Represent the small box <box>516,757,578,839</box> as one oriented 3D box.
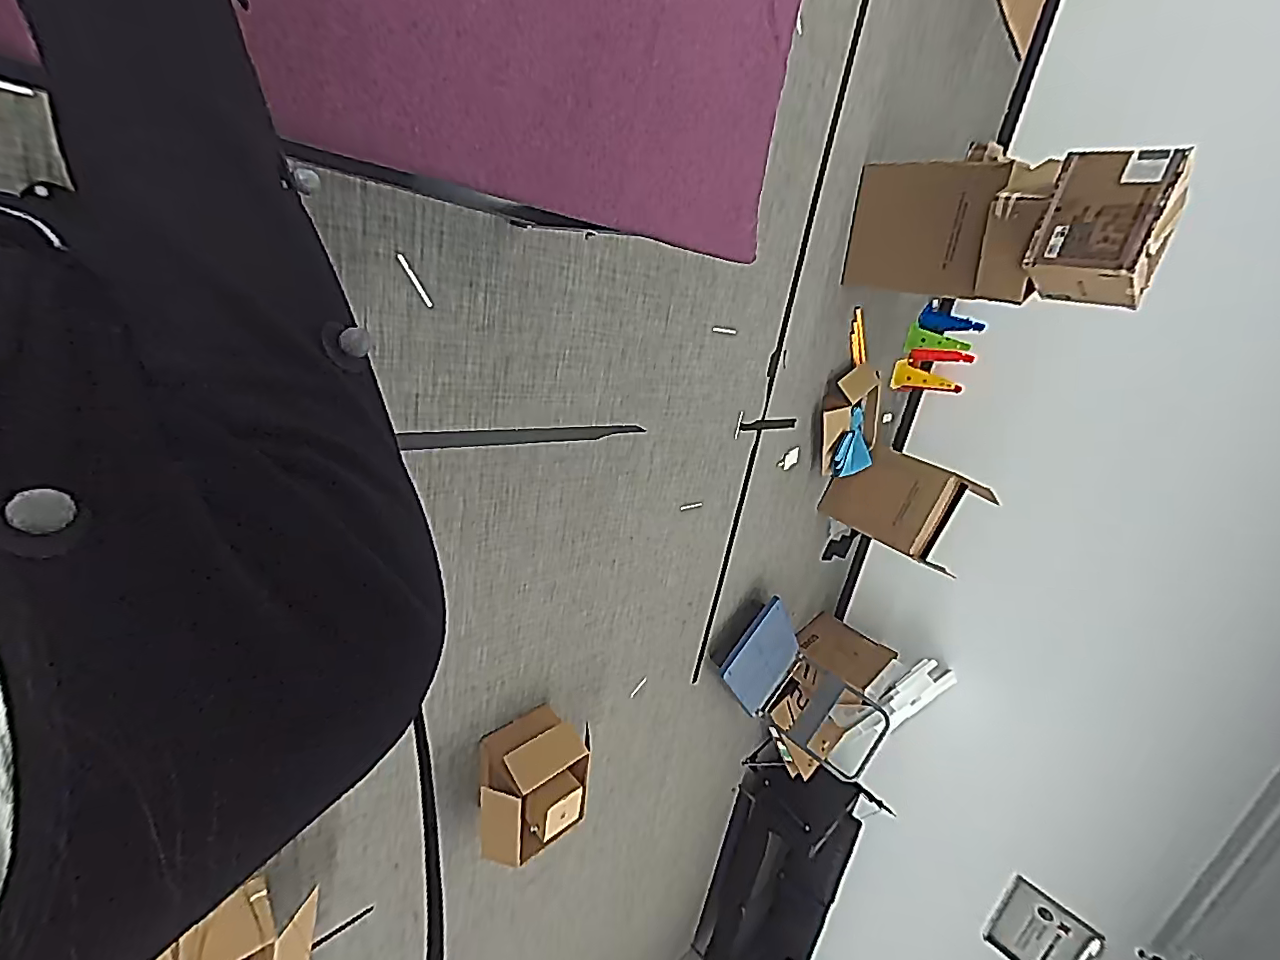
[{"bbox_3d":[-0.364,1.224,2.092,0.168,0.176,0.179,-12,119,-44],"label":"small box"}]
